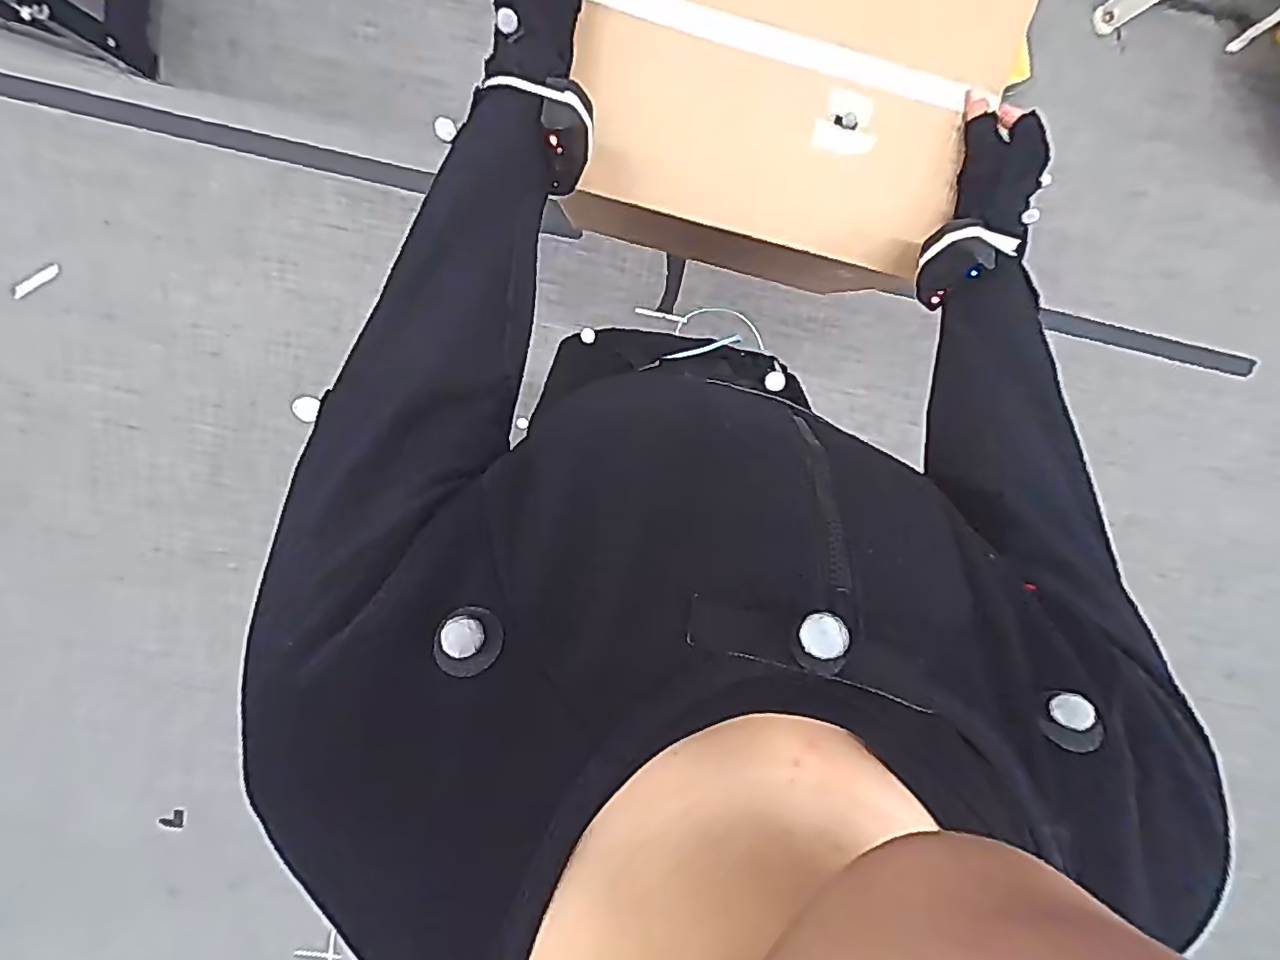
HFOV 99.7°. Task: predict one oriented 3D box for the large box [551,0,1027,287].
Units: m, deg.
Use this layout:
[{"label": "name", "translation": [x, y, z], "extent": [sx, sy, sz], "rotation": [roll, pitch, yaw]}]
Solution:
[{"label": "large box", "translation": [0.131, -0.439, 0.640], "extent": [0.408, 0.320, 0.320], "rotation": [13, 107, -6]}]
